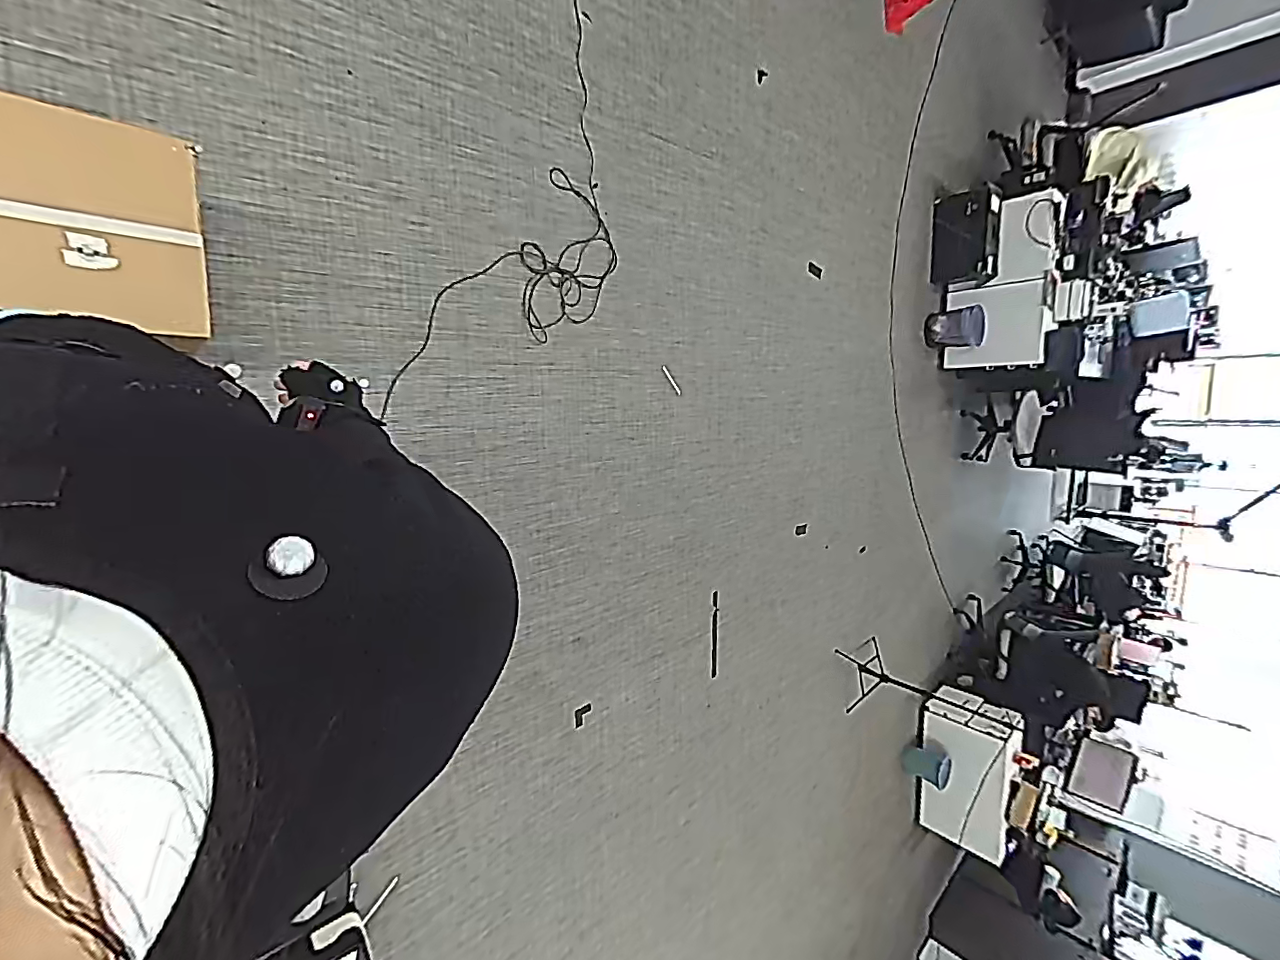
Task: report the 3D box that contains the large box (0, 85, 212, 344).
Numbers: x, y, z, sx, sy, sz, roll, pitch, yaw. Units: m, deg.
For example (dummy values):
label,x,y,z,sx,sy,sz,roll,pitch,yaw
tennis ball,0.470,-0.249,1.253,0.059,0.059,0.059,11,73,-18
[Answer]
label,x,y,z,sx,sy,sz,roll,pitch,yaw
large box,-0.974,-0.404,0.873,0.408,0.320,0.320,-6,100,-42

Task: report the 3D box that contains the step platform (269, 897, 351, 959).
label,x,y,z,sx,sy,sz,roll,pitch,yaw
step platform,-0.993,1.260,1.154,0.684,0.204,0.286,-11,102,-39
